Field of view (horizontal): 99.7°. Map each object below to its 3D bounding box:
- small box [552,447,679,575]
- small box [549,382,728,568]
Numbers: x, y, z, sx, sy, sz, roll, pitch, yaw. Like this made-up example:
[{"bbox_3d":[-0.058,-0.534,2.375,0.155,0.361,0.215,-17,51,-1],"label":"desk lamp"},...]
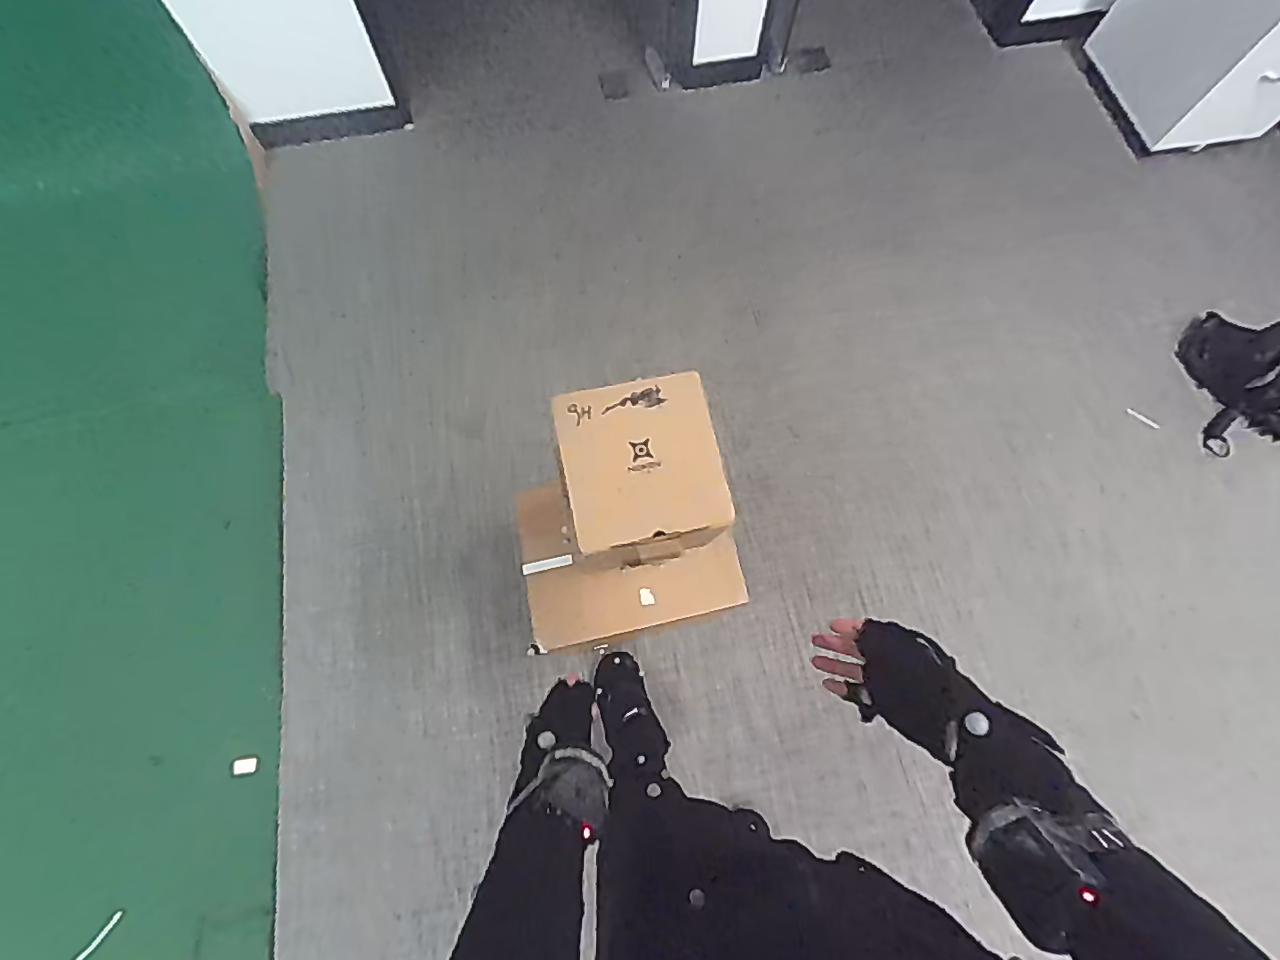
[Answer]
[{"bbox_3d":[-0.028,0.041,0.811,0.168,0.176,0.179,-12,76,-6],"label":"small box"},{"bbox_3d":[-0.006,0.006,0.653,0.168,0.176,0.179,-12,78,-5],"label":"small box"}]
